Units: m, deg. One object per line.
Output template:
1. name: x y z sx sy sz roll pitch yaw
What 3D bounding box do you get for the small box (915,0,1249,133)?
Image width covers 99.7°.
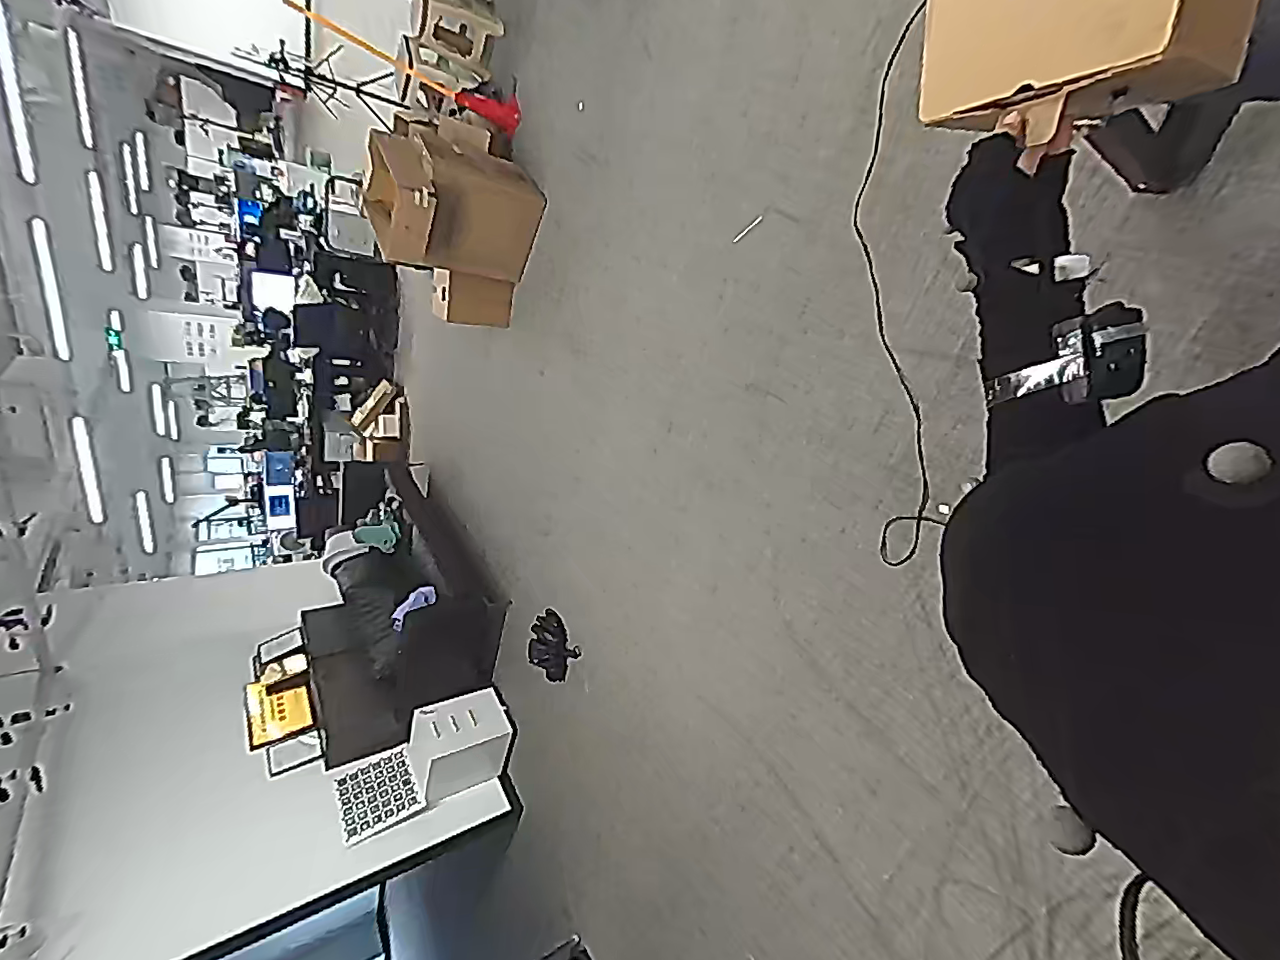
1. small box: 0.342 -0.385 0.415 0.168 0.176 0.179 22 123 52
